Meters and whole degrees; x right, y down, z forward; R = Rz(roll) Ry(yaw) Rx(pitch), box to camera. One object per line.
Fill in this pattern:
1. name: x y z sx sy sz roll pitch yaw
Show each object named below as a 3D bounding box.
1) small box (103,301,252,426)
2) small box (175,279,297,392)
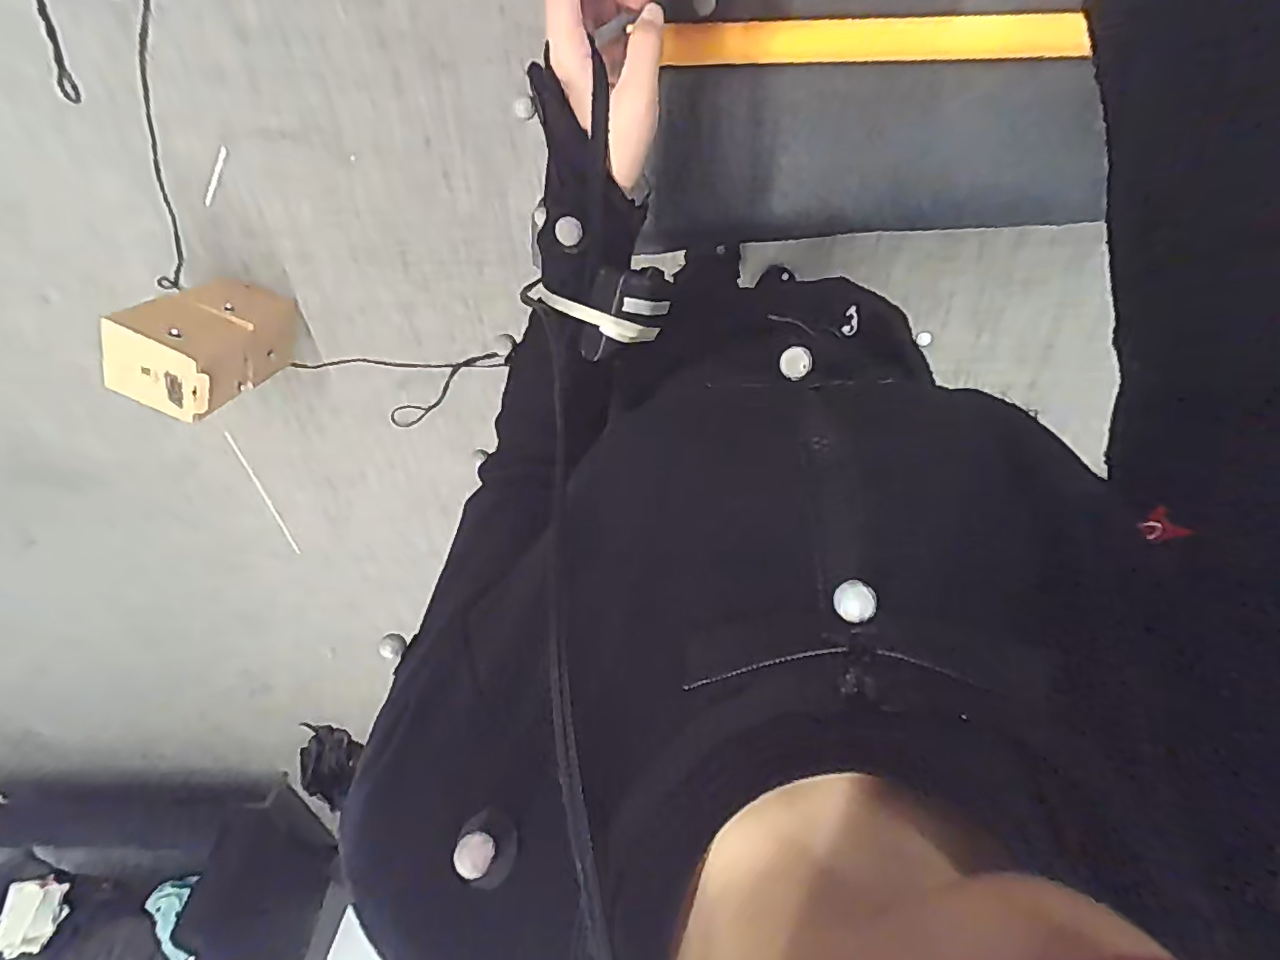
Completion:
1. small box: -0.961 -0.251 1.136 0.179 0.176 0.168 27 121 -13
2. small box: -0.941 -0.343 1.272 0.168 0.176 0.179 22 123 -10
